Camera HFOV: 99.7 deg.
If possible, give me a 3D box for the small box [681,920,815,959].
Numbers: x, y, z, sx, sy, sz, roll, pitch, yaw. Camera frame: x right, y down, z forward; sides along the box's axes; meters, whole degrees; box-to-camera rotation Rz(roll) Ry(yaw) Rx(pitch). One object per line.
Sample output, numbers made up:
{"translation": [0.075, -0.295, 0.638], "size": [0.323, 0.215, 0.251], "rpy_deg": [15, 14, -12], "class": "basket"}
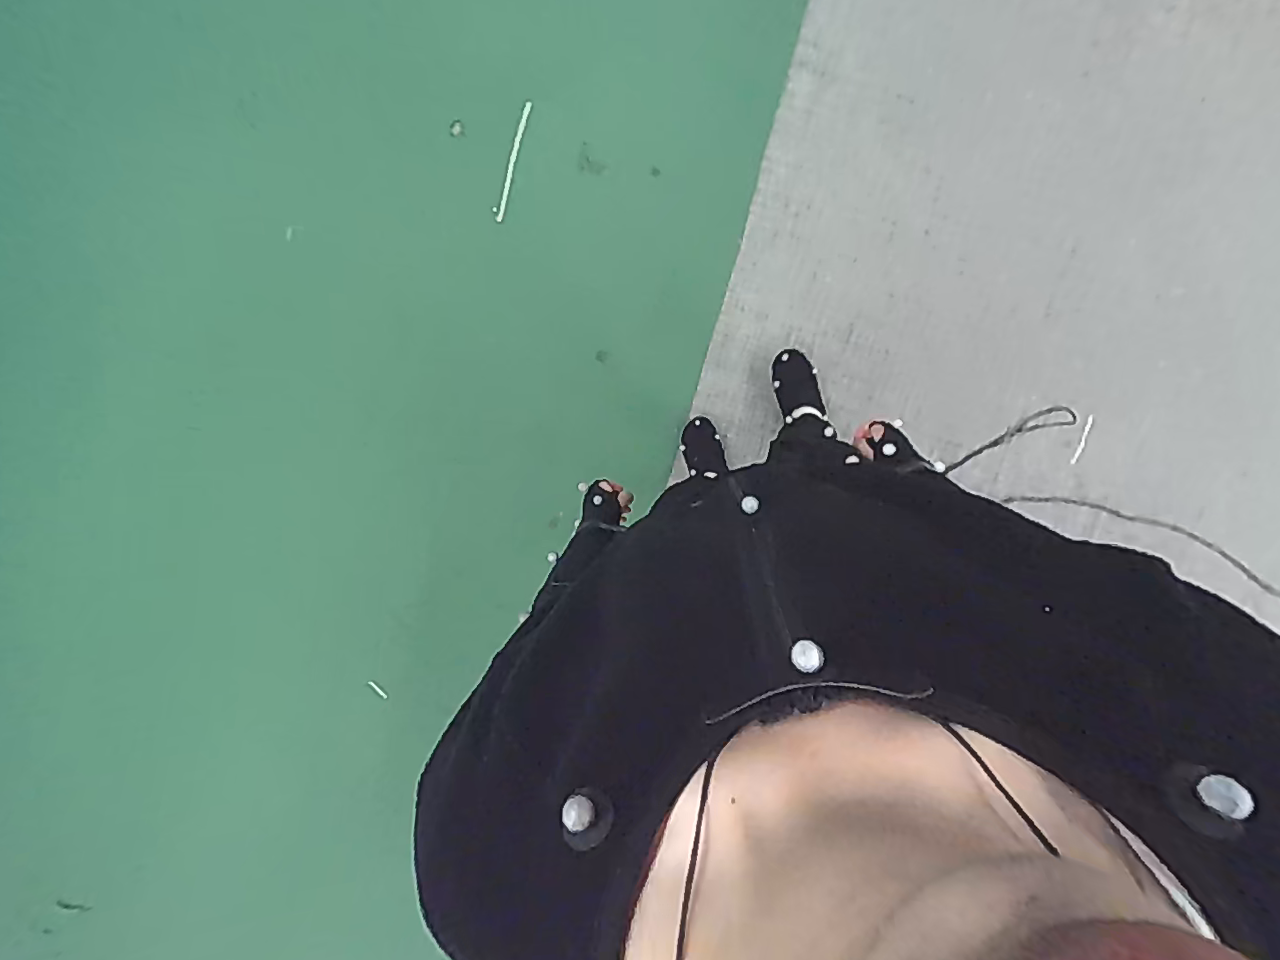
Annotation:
{"translation": [0.116, 0.650, 0.603], "size": [0.179, 0.176, 0.168], "rpy_deg": [20, 98, 3], "class": "small box"}
